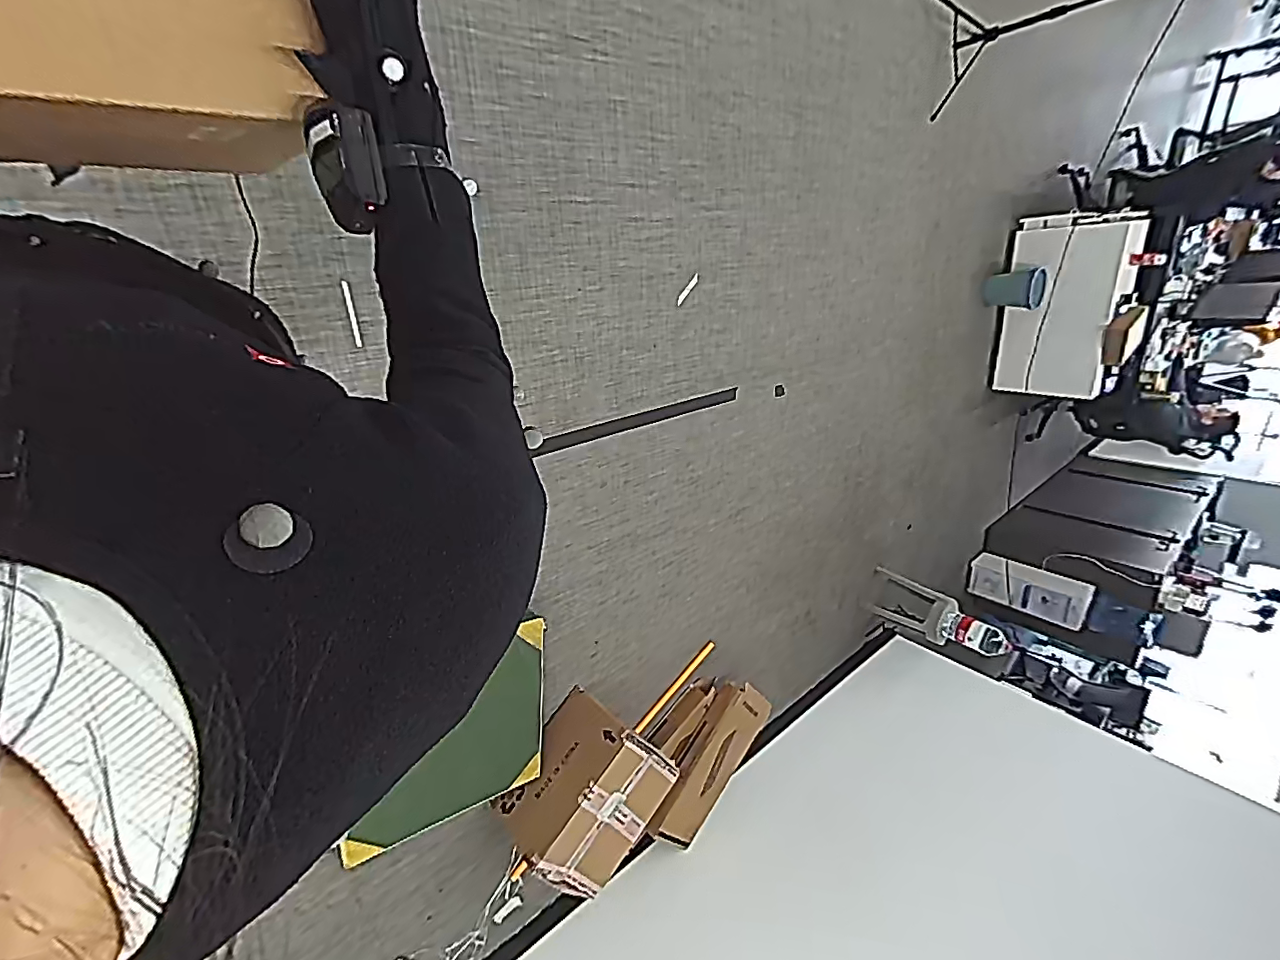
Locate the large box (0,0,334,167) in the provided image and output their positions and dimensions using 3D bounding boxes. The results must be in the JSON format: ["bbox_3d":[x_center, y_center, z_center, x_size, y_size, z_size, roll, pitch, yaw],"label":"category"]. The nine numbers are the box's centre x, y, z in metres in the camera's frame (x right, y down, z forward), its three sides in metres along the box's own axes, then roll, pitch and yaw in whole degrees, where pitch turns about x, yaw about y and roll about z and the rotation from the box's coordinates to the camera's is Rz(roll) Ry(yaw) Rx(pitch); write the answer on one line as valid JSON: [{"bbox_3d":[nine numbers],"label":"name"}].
[{"bbox_3d":[-0.466,-0.376,0.307,0.408,0.320,0.320,-21,121,-36],"label":"large box"}]
